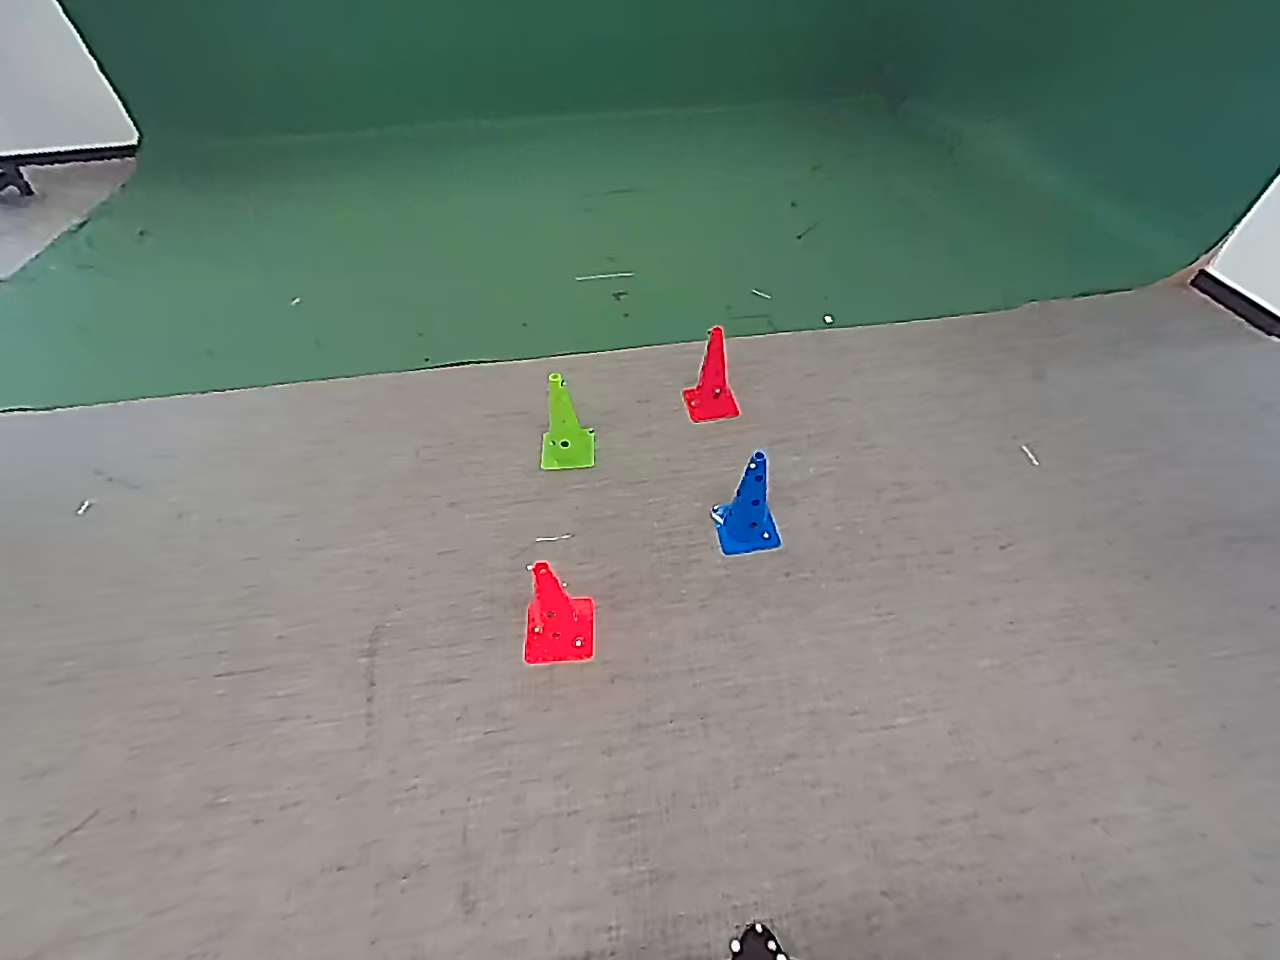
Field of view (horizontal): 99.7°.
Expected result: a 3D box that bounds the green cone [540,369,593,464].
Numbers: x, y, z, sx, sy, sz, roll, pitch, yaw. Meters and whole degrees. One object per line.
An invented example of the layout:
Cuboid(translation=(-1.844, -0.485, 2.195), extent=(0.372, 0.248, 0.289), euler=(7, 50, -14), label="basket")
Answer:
Cuboid(translation=(-0.287, -0.248, 1.934), extent=(0.200, 0.368, 0.202), euler=(-5, 51, -1), label="green cone")

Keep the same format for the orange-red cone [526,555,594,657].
Cuboid(translation=(-0.237, 0.314, 1.470), extent=(0.198, 0.360, 0.199), euler=(-3, 49, -1), label="orange-red cone")
